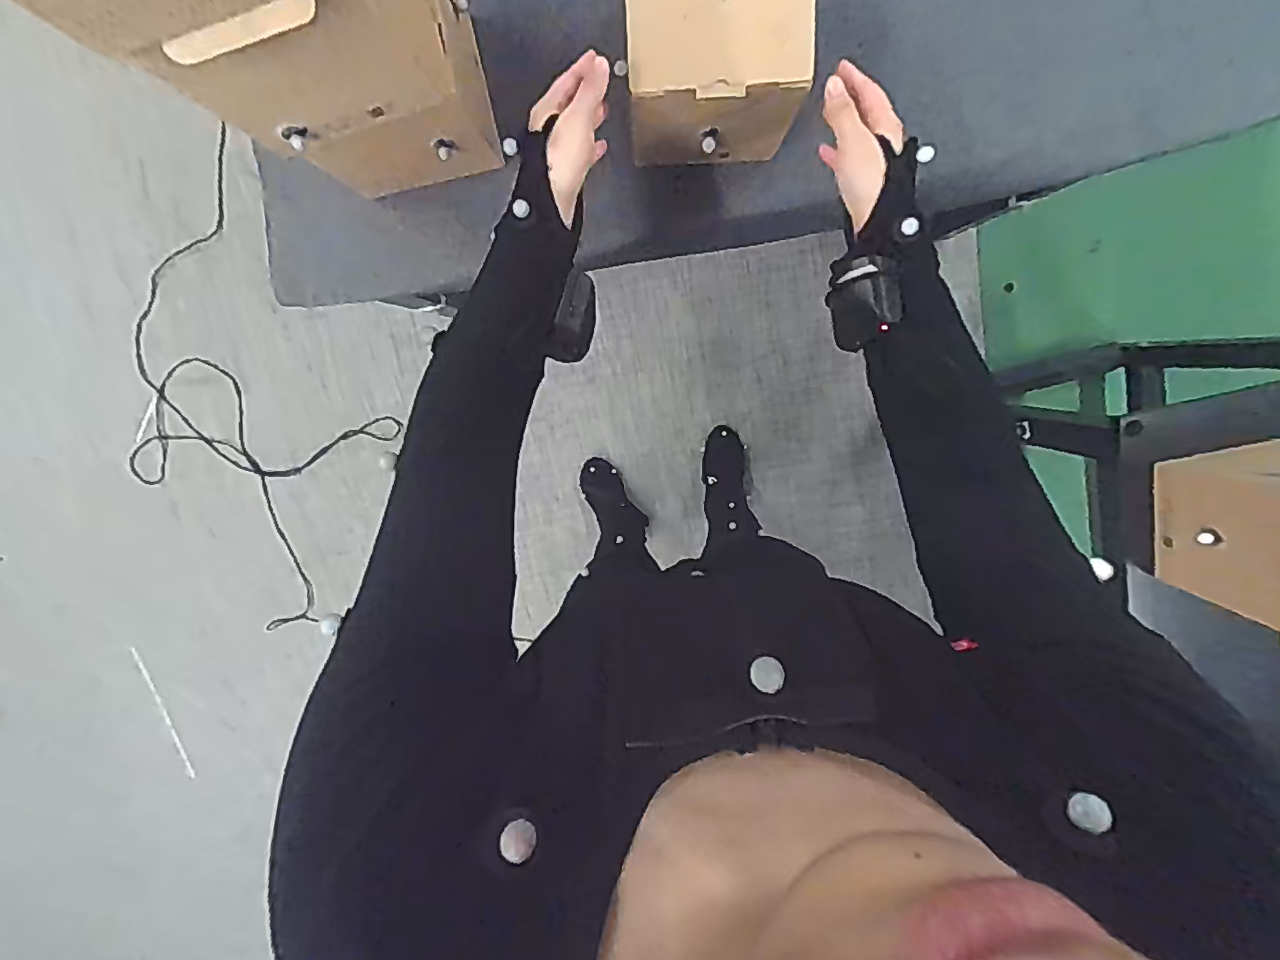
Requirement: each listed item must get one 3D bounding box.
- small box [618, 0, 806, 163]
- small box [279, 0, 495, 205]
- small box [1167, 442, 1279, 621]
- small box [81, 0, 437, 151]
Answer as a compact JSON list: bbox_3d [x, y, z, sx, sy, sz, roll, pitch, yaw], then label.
[{"bbox_3d":[0.066,-0.440,0.544,0.168,0.176,0.179,-2,101,3],"label":"small box"},{"bbox_3d":[-0.265,-0.413,0.563,0.179,0.176,0.168,-12,99,5],"label":"small box"},{"bbox_3d":[0.767,0.057,0.624,0.179,0.176,0.168,-12,102,4],"label":"small box"},{"bbox_3d":[-0.279,-0.379,0.402,0.168,0.176,0.179,-16,98,4],"label":"small box"}]
